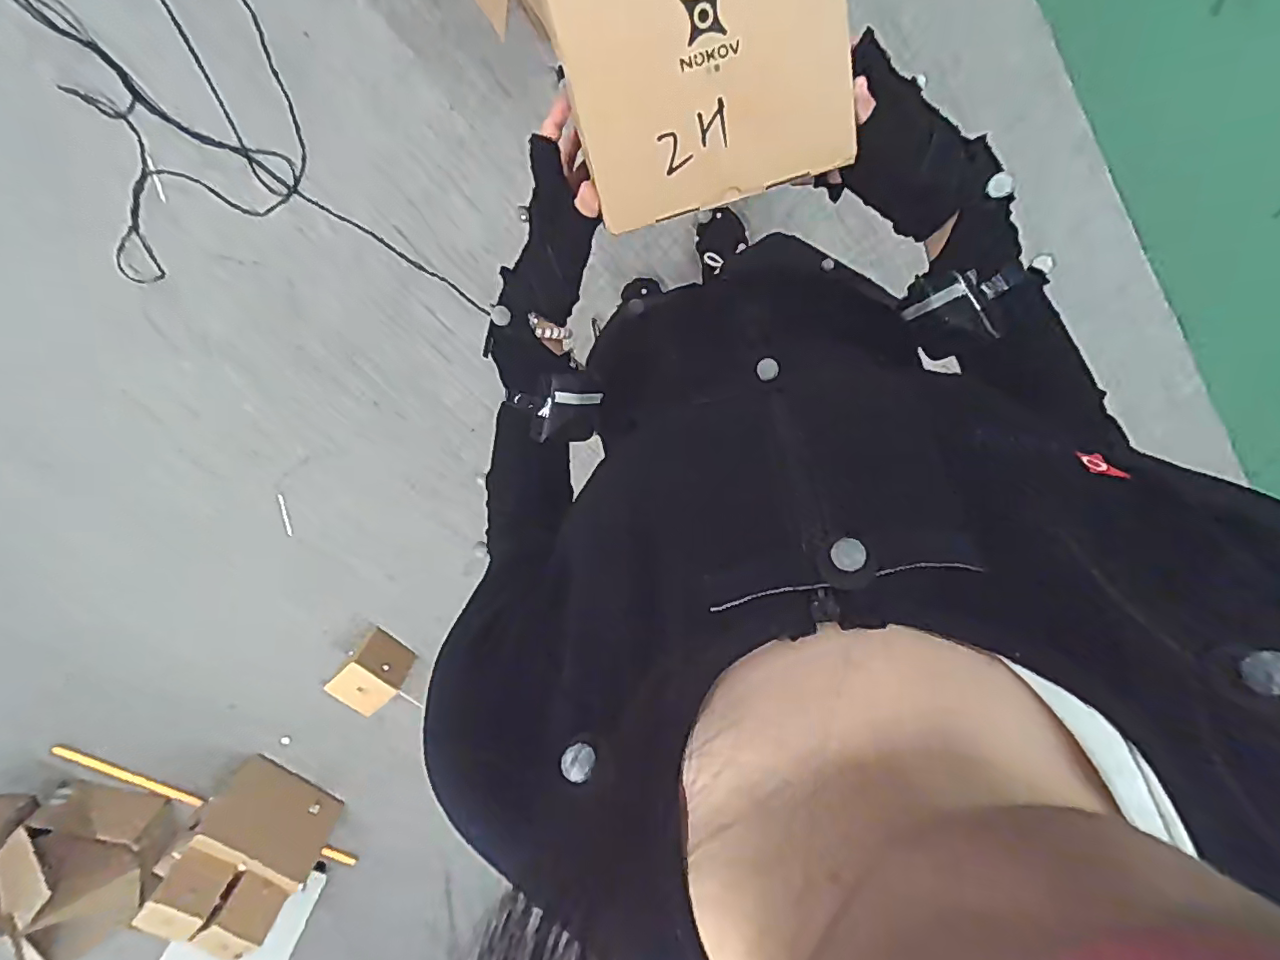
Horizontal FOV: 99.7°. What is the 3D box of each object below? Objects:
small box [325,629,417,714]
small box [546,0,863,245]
[{"bbox_3d":[-0.872,0.616,1.767,0.168,0.176,0.179,-40,110,16],"label":"small box"},{"bbox_3d":[0.034,-0.278,0.373,0.168,0.176,0.179,-15,118,3],"label":"small box"}]
